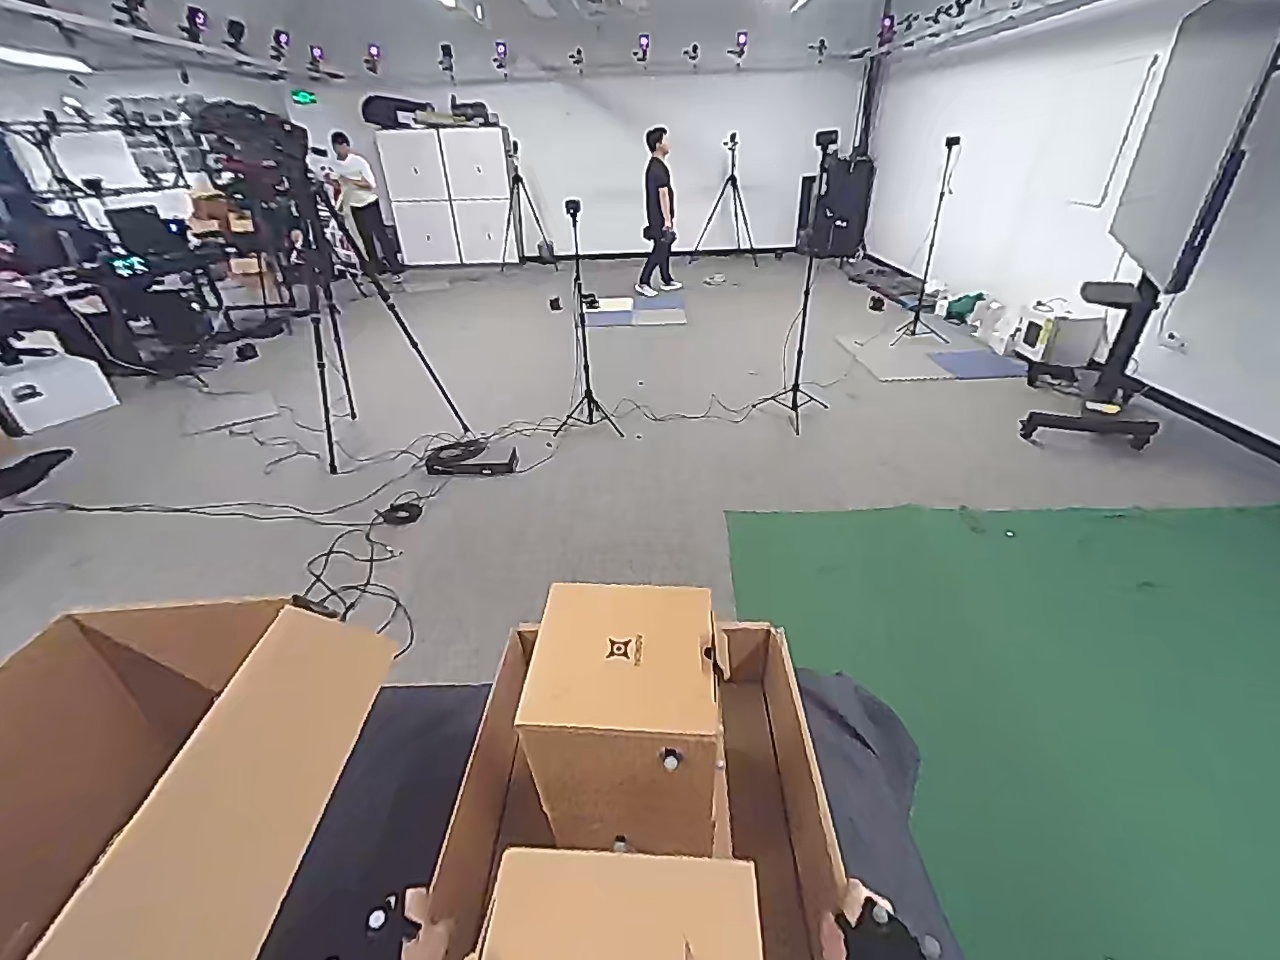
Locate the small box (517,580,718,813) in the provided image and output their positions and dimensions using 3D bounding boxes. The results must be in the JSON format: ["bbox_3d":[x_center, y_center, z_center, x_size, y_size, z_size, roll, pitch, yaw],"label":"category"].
[{"bbox_3d":[-0.011,0.225,0.567,0.179,0.176,0.168,1,37,4],"label":"small box"}]
